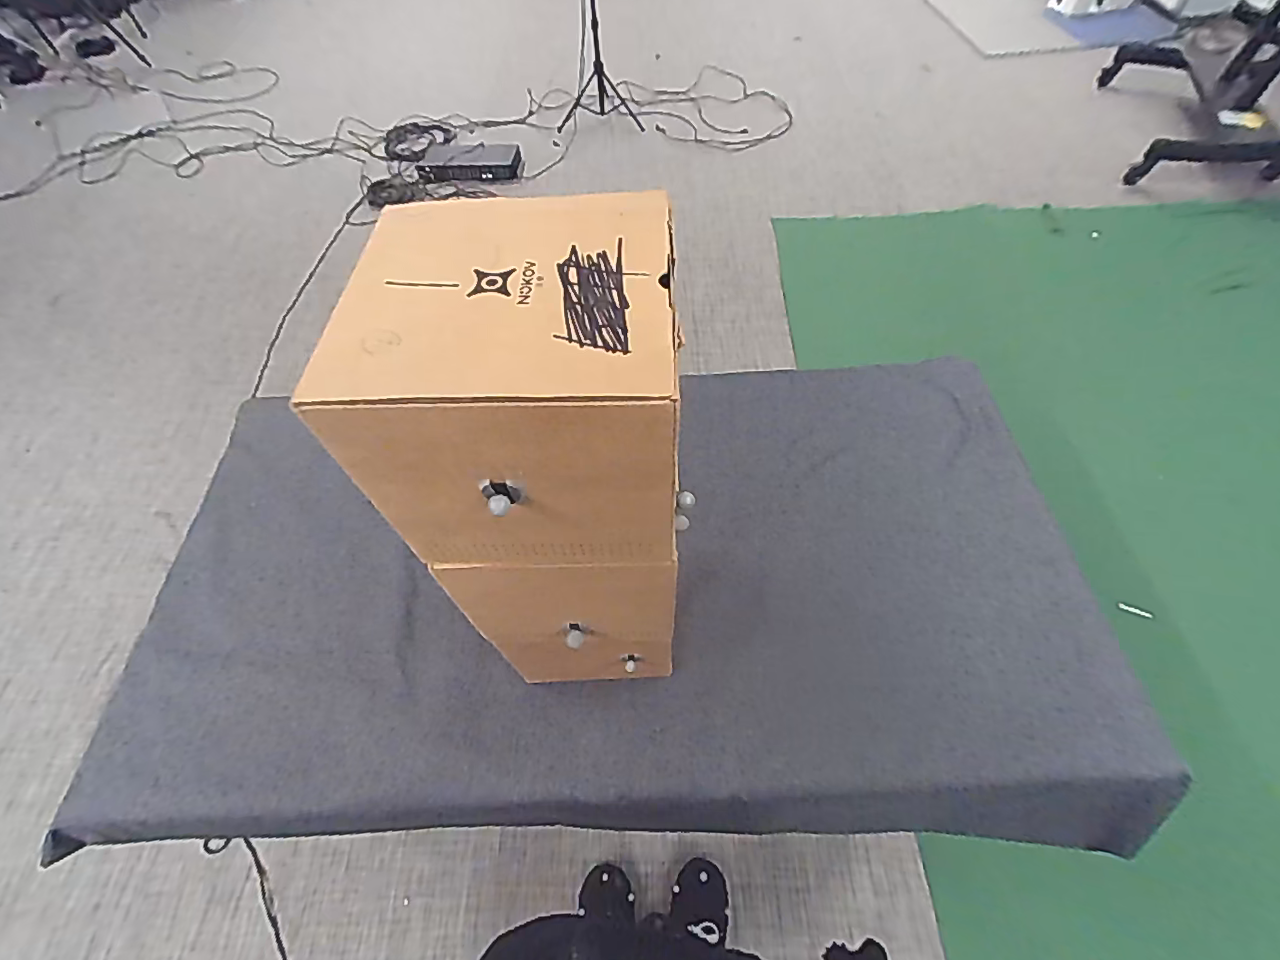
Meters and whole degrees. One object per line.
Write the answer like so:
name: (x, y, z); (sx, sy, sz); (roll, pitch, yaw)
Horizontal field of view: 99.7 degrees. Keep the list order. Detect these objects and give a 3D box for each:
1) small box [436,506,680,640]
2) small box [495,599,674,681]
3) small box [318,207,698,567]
small box: (-0.059, 0.040, 0.493); (0.179, 0.176, 0.168); (-2, 56, 1)
small box: (-0.054, 0.128, 0.630); (0.179, 0.176, 0.168); (-5, 56, 1)
small box: (-0.063, -0.052, 0.356); (0.179, 0.176, 0.168); (-3, 56, -1)
